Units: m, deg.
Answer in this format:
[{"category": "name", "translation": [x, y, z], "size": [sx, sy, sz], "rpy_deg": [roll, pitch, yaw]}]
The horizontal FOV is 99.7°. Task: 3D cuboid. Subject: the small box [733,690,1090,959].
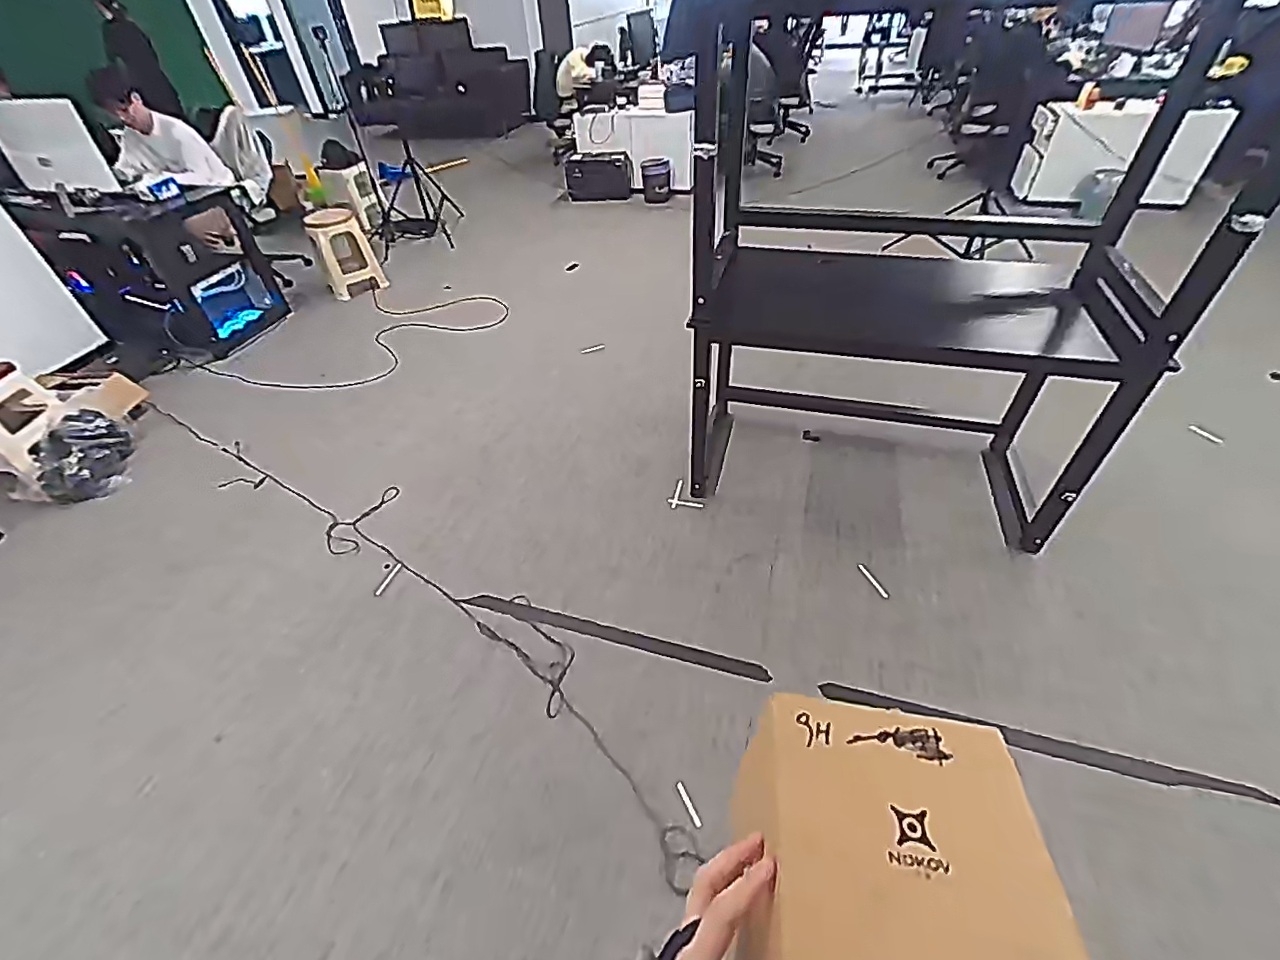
[{"category": "small box", "translation": [0.162, 0.282, 0.378], "size": [0.168, 0.176, 0.179], "rpy_deg": [9, 40, 4]}]
